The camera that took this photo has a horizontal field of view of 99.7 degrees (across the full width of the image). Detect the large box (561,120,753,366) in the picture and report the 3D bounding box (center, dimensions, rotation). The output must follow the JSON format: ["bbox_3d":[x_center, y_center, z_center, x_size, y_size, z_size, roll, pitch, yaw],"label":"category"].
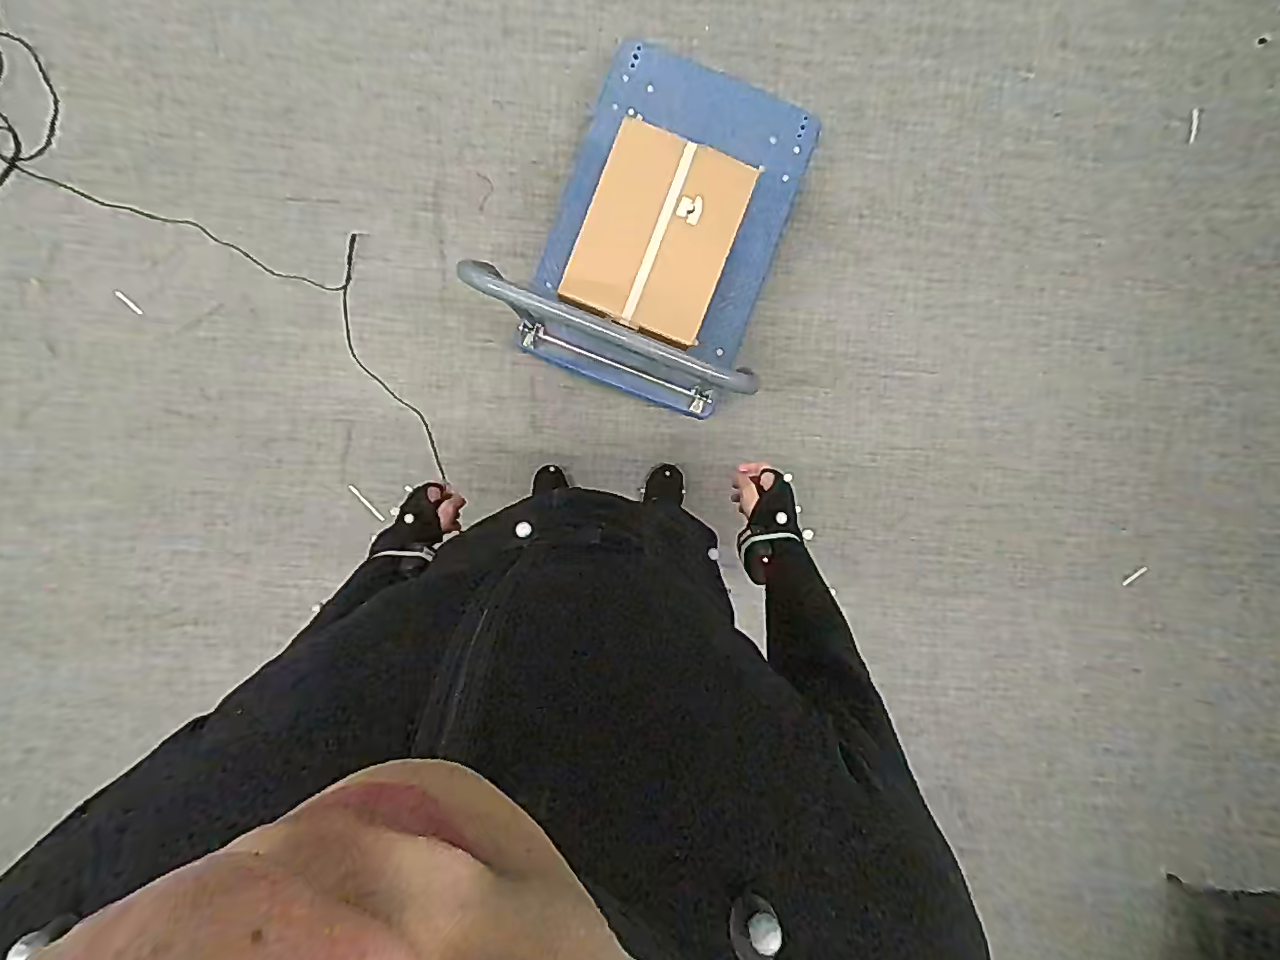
[{"bbox_3d":[0.032,-0.538,1.313,0.320,0.320,0.408,21,90,-3],"label":"large box"}]
